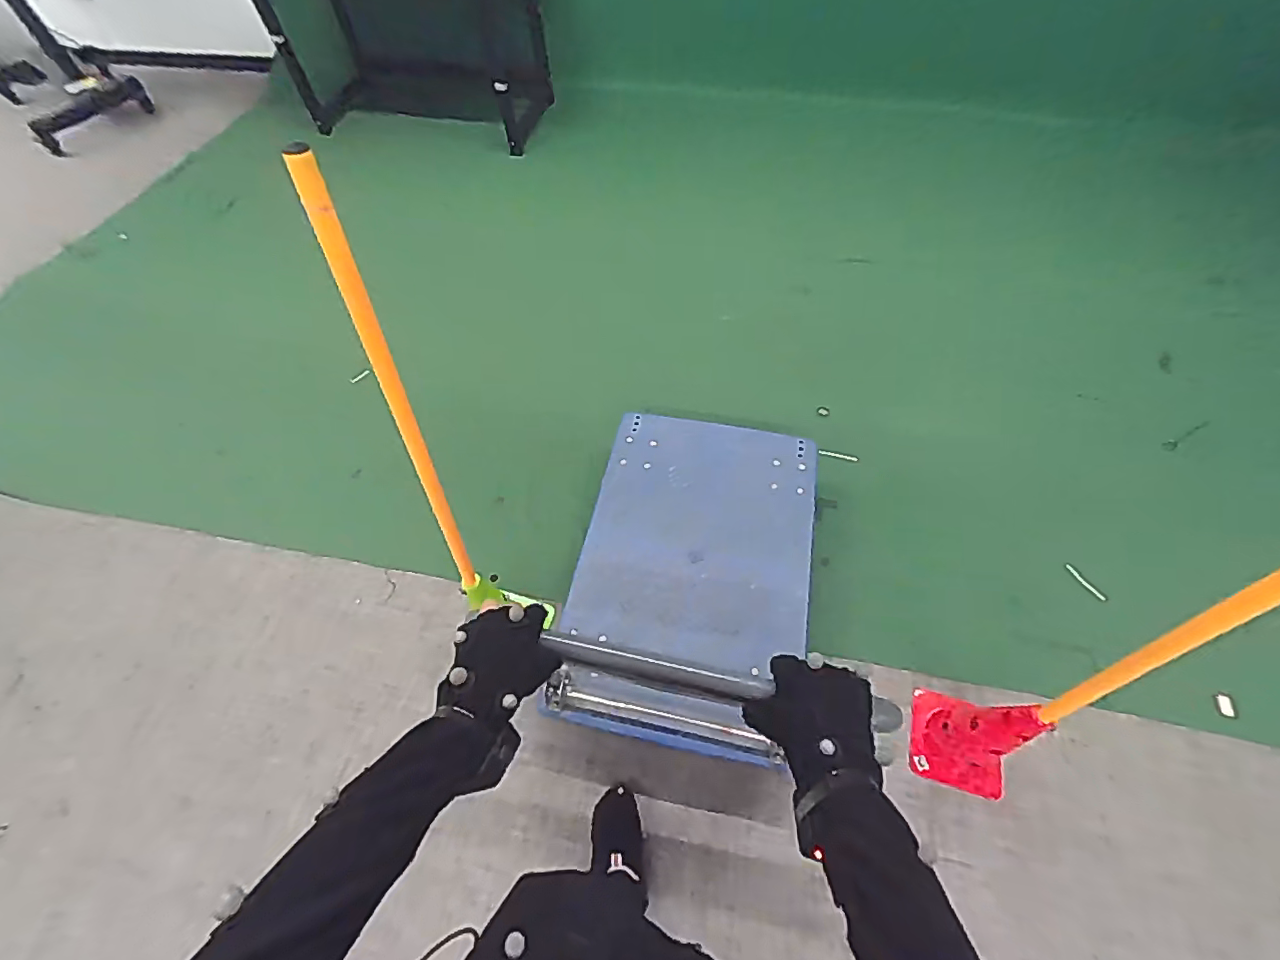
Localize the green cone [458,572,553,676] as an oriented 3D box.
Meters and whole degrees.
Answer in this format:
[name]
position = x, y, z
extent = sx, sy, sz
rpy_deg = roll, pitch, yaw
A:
[green cone]
position = -0.363, 0.315, 1.321
extent = 0.202, 0.368, 0.200
rpy_deg = 13, 58, 11
